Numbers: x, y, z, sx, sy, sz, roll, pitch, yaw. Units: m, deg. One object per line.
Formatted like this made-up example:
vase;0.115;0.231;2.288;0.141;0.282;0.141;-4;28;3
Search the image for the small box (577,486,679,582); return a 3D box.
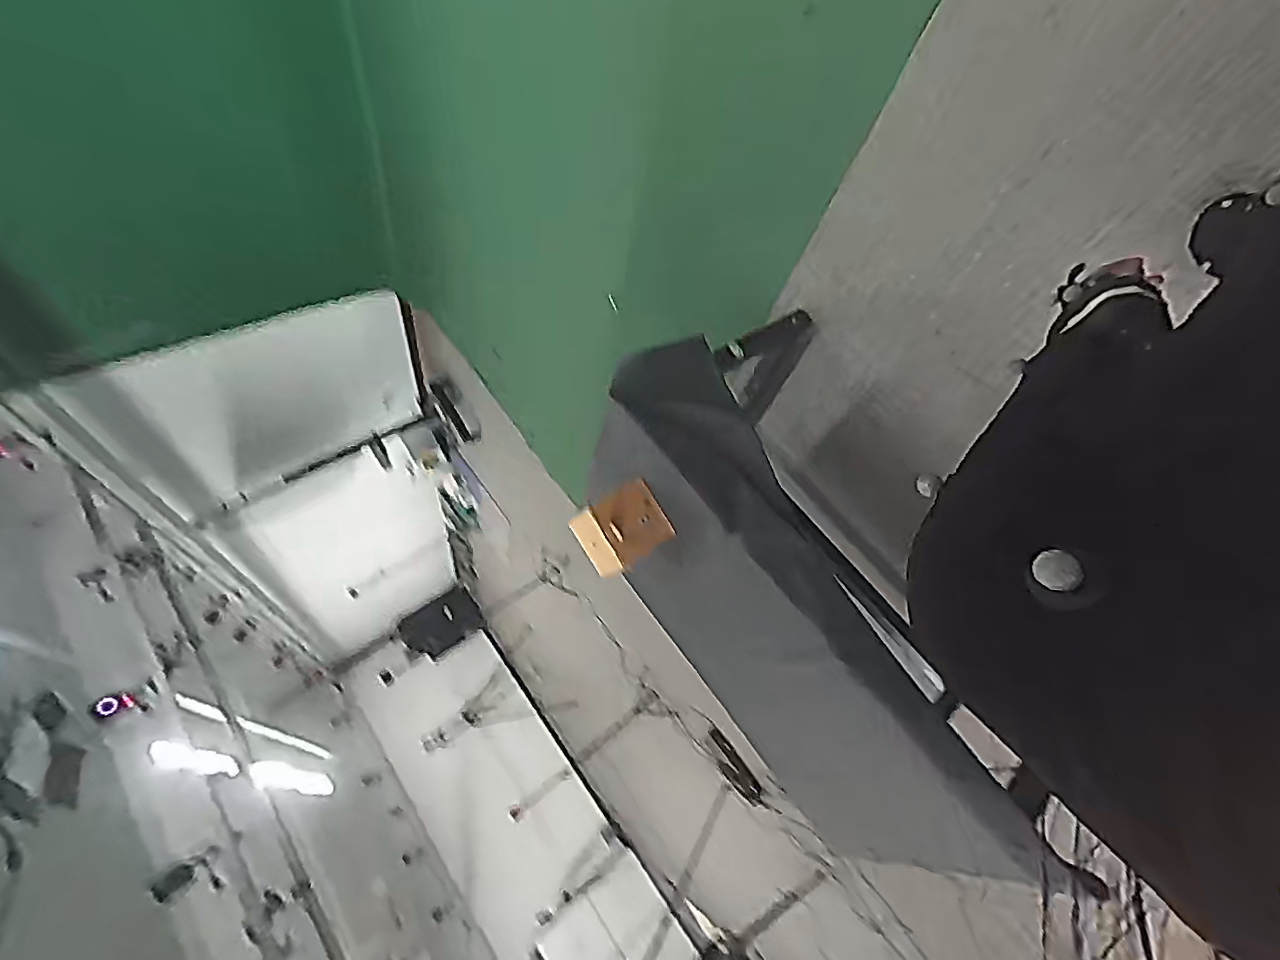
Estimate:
small box;-0.029;0.137;1.369;0.168;0.176;0.179;57;152;3
